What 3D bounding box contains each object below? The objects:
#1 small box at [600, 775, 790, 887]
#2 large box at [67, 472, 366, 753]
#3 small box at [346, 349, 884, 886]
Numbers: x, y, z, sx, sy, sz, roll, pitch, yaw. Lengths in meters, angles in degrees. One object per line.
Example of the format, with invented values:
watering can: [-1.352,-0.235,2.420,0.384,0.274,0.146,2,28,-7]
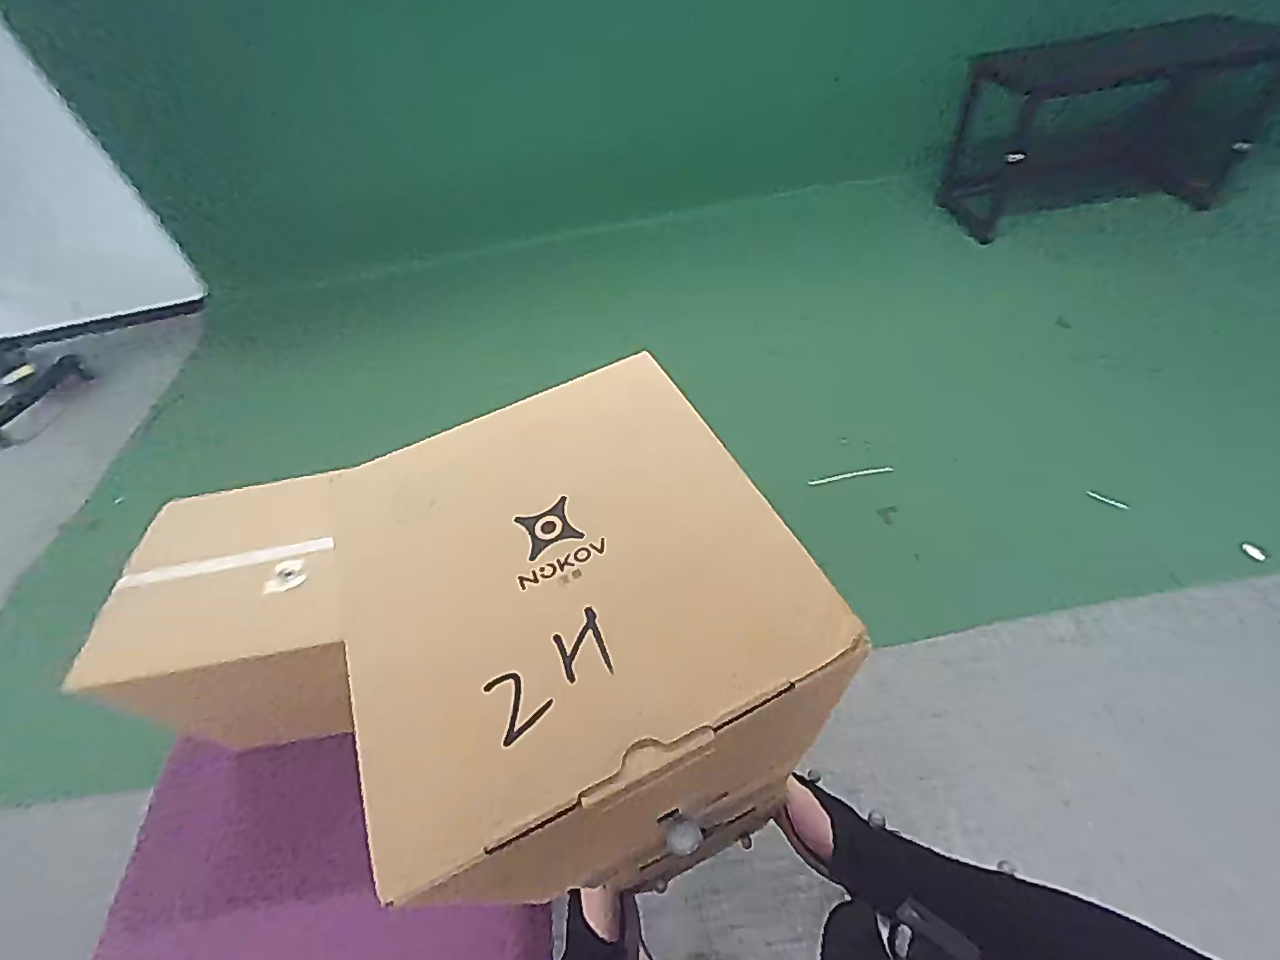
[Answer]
small box: [0.026,0.266,0.535,0.168,0.176,0.179,-21,53,-9]
large box: [-0.532,0.213,0.888,0.408,0.320,0.320,-10,50,0]
small box: [-0.019,0.071,0.273,0.168,0.176,0.179,-23,54,-9]
